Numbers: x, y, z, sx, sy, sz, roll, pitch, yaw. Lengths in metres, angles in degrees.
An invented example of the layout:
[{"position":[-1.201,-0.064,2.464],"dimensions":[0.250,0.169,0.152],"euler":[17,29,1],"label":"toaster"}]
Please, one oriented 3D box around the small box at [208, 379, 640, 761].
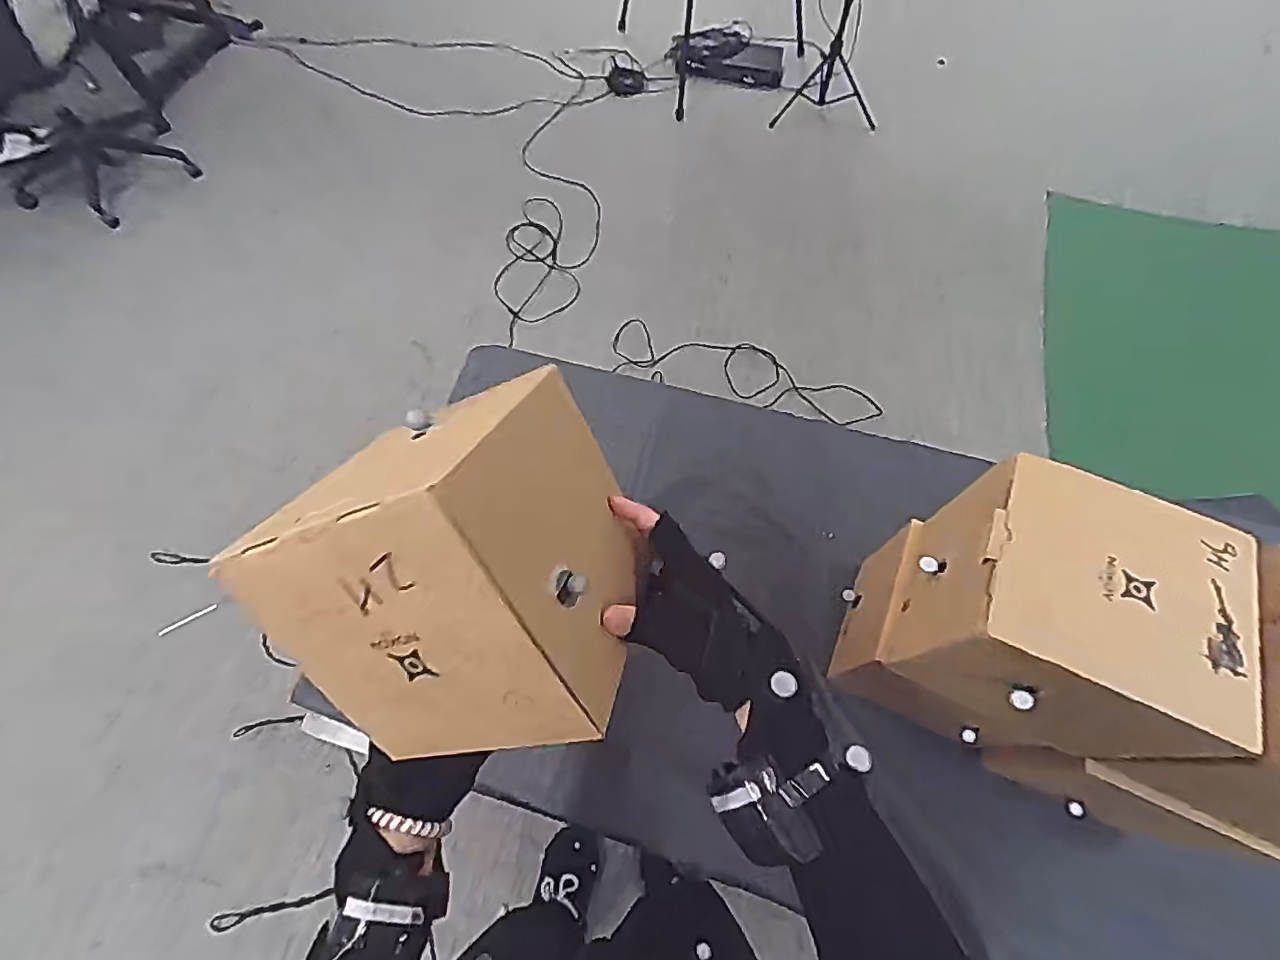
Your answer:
[{"position":[-0.116,0.060,0.369],"dimensions":[0.168,0.179,0.176],"euler":[-17,26,23],"label":"small box"}]
